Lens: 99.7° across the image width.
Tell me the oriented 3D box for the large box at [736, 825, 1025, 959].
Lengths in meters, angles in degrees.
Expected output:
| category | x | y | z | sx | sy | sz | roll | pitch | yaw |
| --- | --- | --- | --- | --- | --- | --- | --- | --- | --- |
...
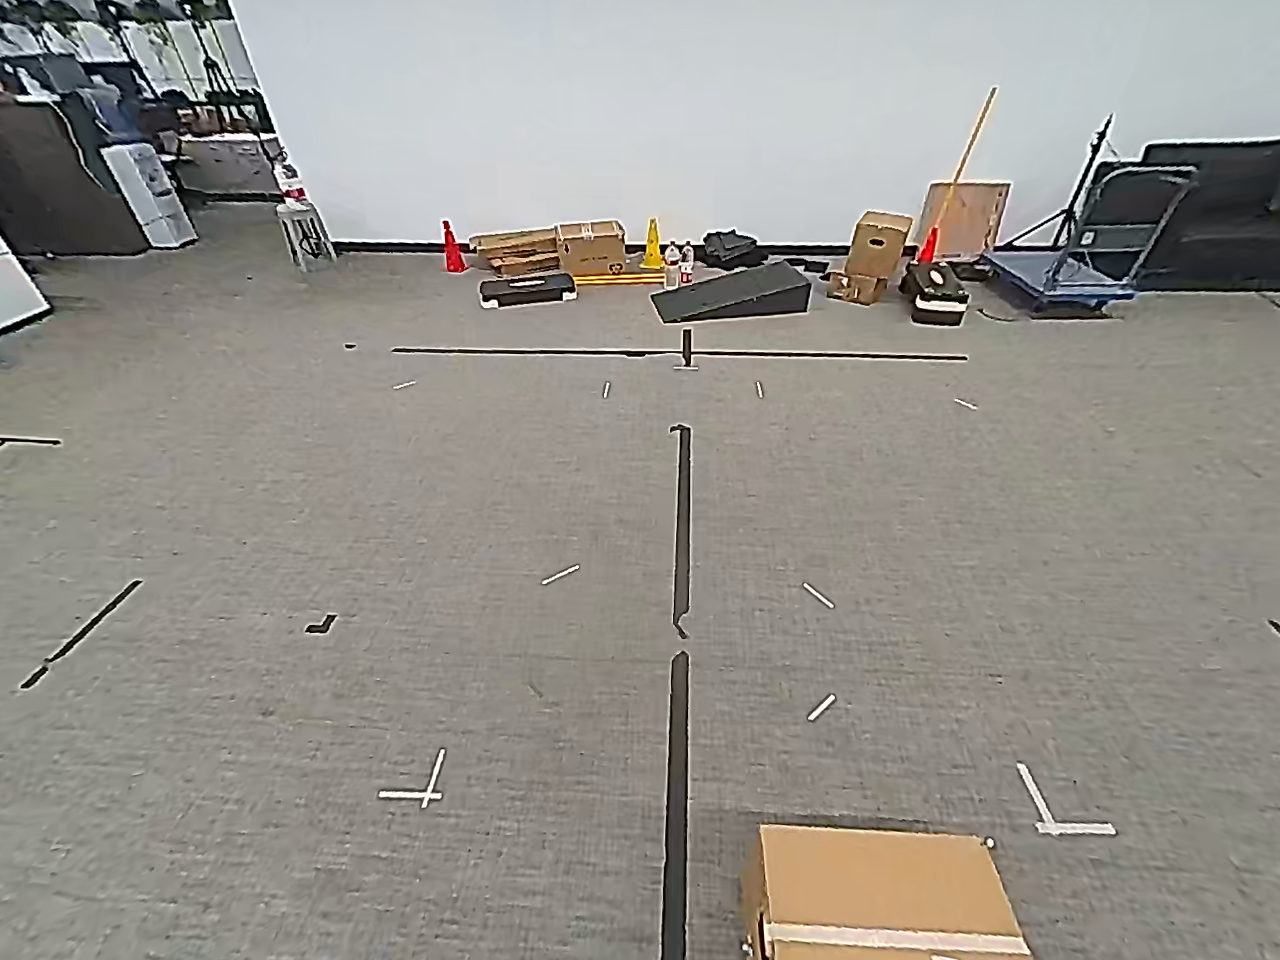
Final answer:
| category | x | y | z | sx | sy | sz | roll | pitch | yaw |
| --- | --- | --- | --- | --- | --- | --- | --- | --- | --- |
| large box | 0.402 | 0.850 | 0.956 | 0.408 | 0.320 | 0.320 | 3 | 39 | 2 |
